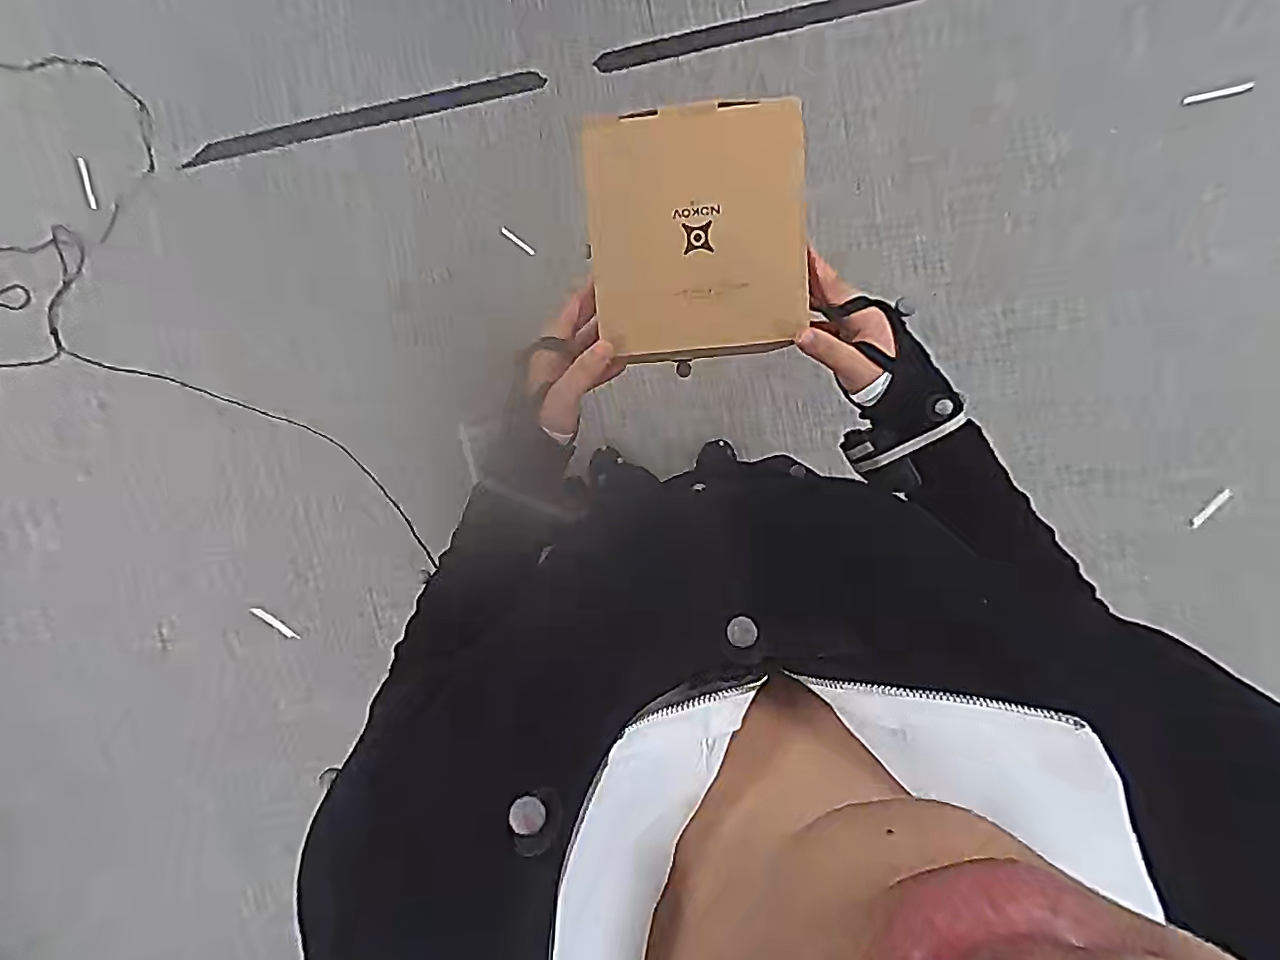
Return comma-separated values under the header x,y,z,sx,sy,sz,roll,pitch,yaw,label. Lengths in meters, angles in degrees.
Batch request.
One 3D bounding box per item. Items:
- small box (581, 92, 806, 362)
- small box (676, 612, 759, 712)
x,y,z,sx,sy,sz,roll,pitch,yaw,label
0.044,-0.205,0.489,0.168,0.176,0.179,-4,100,3,small box
0.187,0.441,1.345,0.168,0.176,0.179,-13,95,5,small box
